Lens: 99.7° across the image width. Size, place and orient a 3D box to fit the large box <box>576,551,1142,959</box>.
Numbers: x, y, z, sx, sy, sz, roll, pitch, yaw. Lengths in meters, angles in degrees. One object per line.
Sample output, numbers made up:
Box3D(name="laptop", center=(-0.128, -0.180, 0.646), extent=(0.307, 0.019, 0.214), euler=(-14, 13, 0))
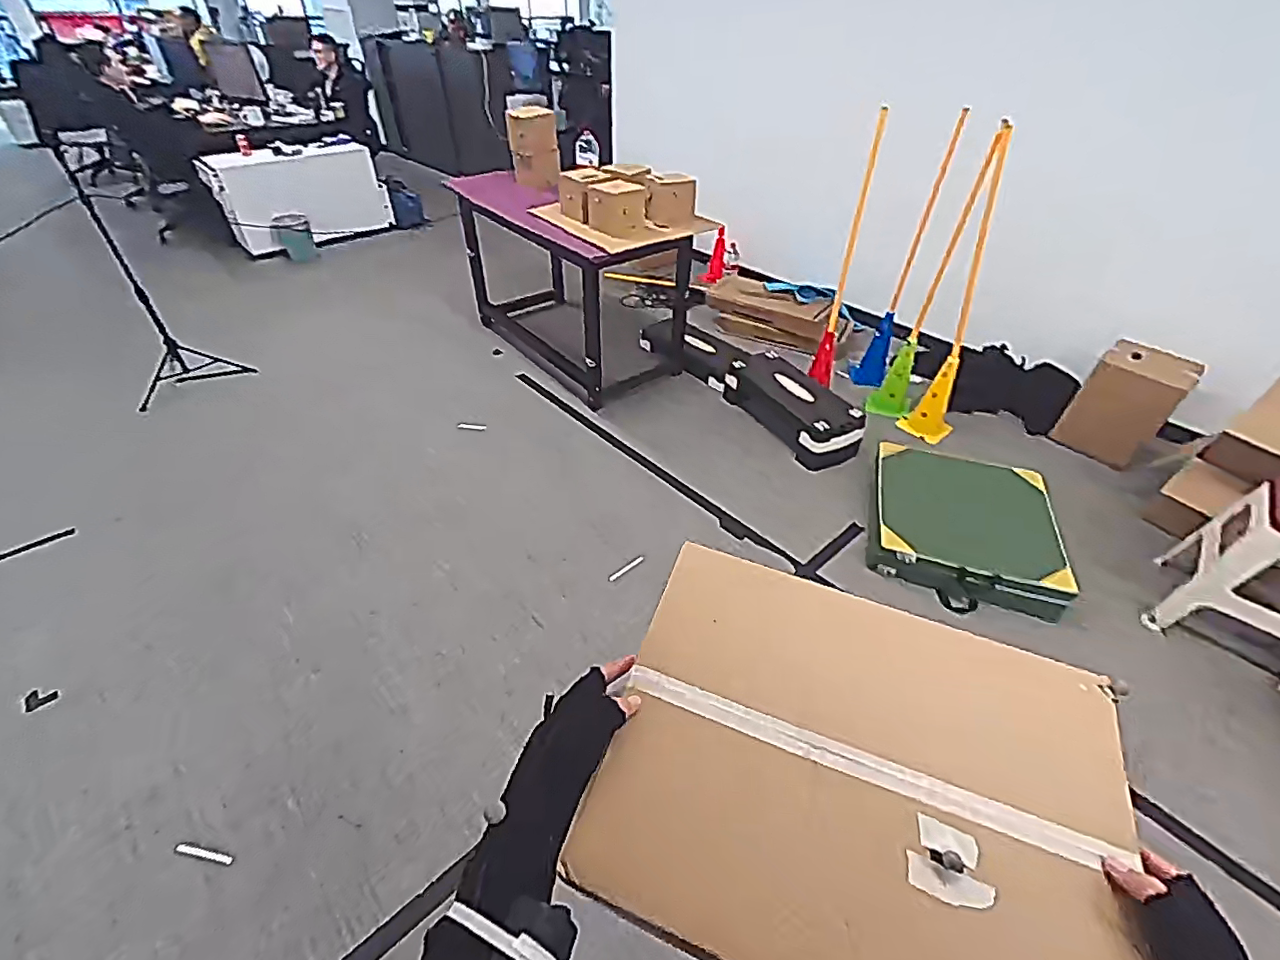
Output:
Box3D(name="large box", center=(0.183, 0.333, 0.570), extent=(0.408, 0.320, 0.320), euler=(18, 53, 13))
